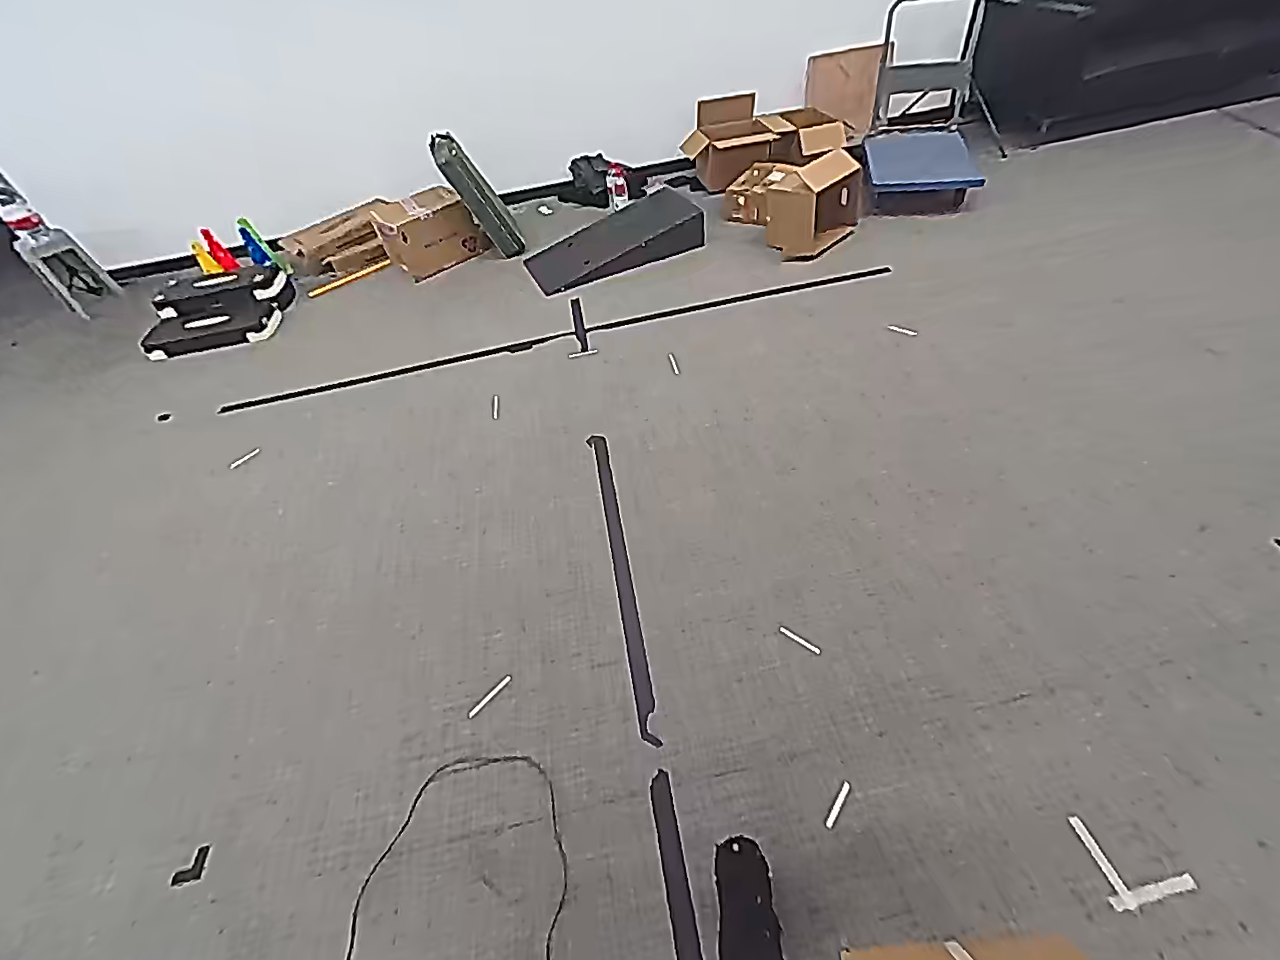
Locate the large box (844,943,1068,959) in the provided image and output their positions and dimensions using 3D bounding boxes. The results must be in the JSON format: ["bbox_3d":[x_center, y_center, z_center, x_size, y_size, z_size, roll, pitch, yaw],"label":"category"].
[{"bbox_3d":[0.443,0.771,0.544,0.320,0.408,0.320,-3,76,1],"label":"large box"}]
